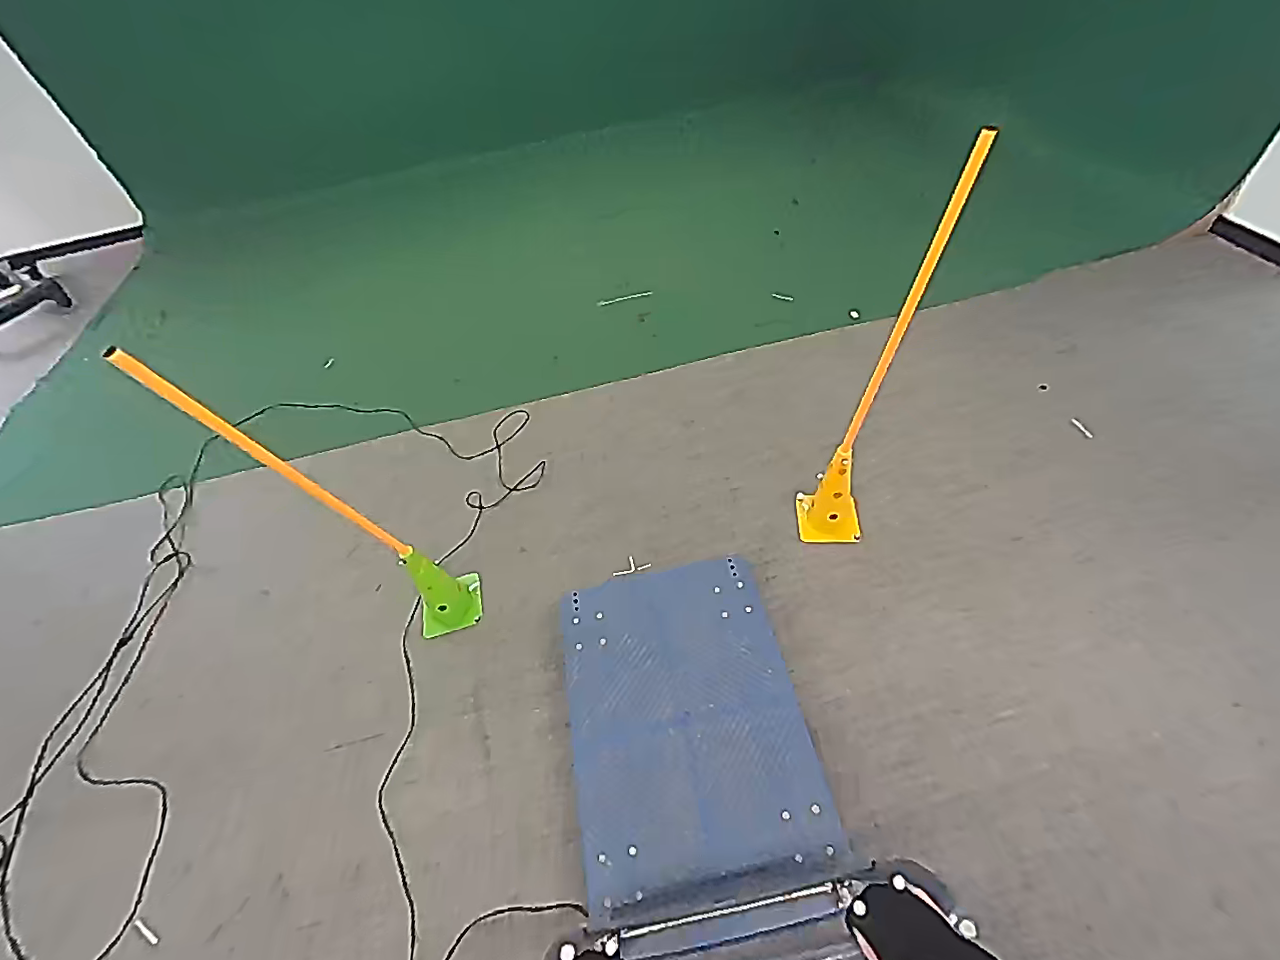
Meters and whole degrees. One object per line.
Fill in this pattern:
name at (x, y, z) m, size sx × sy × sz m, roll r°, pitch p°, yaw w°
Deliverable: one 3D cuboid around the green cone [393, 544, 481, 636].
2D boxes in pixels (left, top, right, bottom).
green cone at (-0.670, 0.309, 1.709) m, size 0.202 × 0.368 × 0.200 m, roll -18°, pitch 50°, yaw -4°
